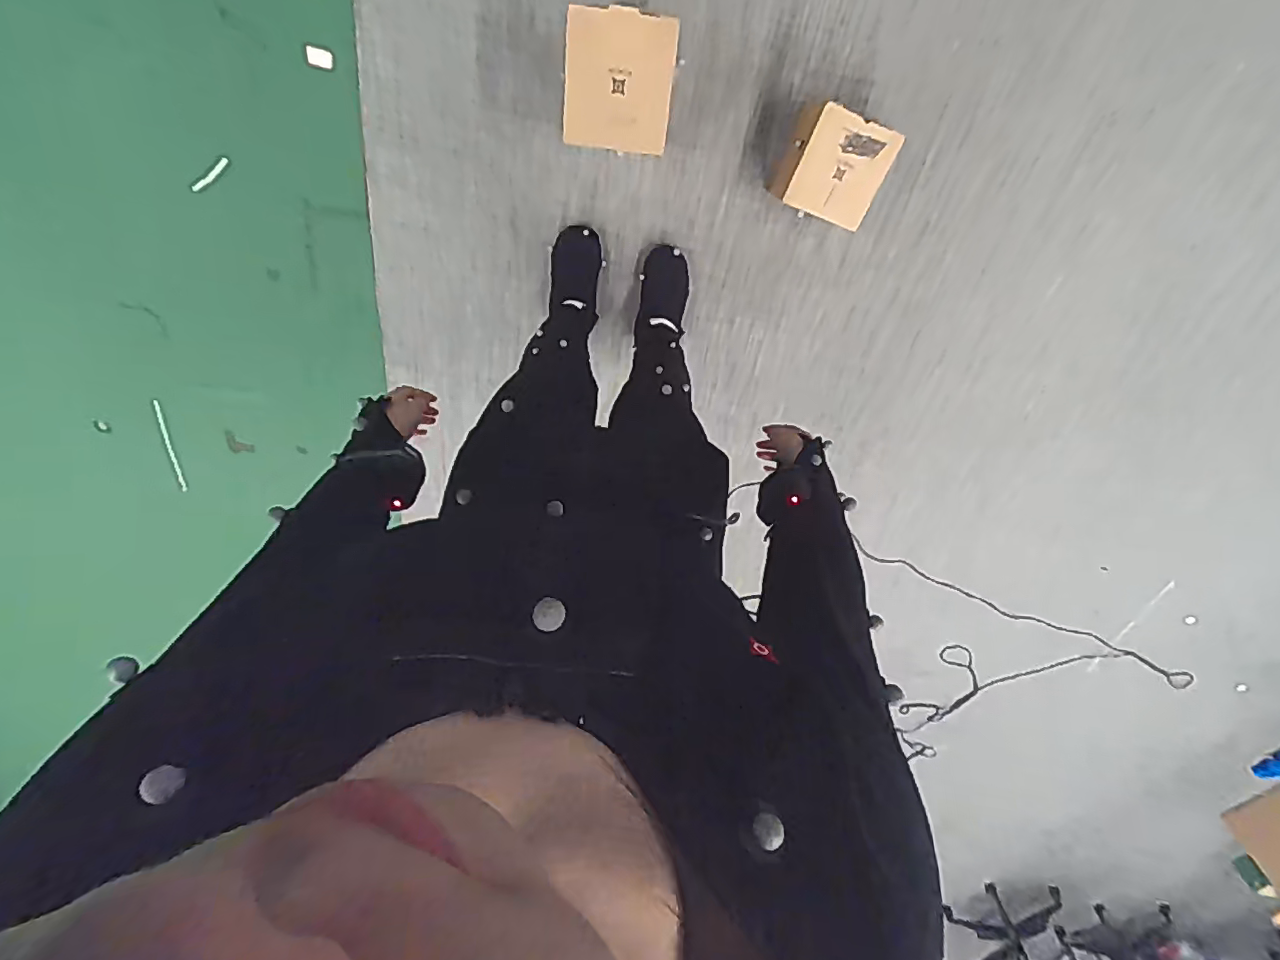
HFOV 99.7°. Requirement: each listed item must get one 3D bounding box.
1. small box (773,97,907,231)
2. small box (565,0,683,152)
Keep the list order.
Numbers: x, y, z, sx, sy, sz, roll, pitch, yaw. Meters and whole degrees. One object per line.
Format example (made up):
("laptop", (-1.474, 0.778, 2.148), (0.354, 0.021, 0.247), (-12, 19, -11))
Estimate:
("small box", (0.381, -0.625, 1.072), (0.168, 0.176, 0.179), (18, 123, -9))
("small box", (-0.027, -0.645, 0.875), (0.168, 0.176, 0.179), (6, 124, -2))
